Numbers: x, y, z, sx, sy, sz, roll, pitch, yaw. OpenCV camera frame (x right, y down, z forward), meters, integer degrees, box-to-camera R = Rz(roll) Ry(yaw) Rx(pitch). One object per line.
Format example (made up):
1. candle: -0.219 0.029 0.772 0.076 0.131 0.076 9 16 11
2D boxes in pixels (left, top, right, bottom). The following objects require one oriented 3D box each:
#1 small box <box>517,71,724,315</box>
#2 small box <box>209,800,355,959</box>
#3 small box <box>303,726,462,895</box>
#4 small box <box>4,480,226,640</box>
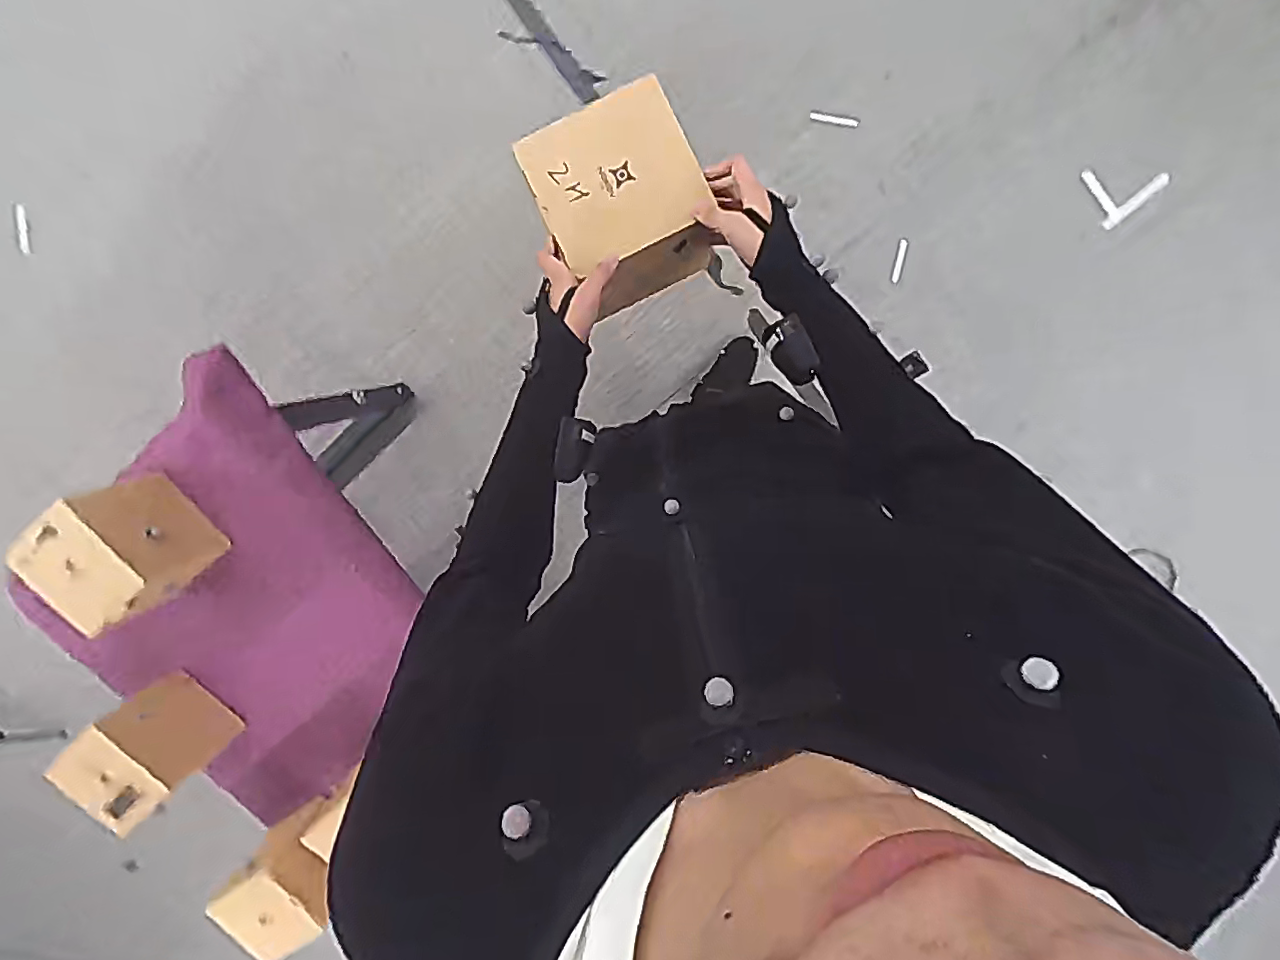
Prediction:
1. small box: -0.020 -0.326 0.653 0.179 0.176 0.168 -25 91 3
2. small box: -0.677 0.787 1.070 0.179 0.176 0.168 -36 98 12
3. small box: -0.467 0.608 1.009 0.168 0.176 0.179 45 104 -8
4. small box: -0.865 0.126 0.912 0.168 0.176 0.179 -37 100 12
